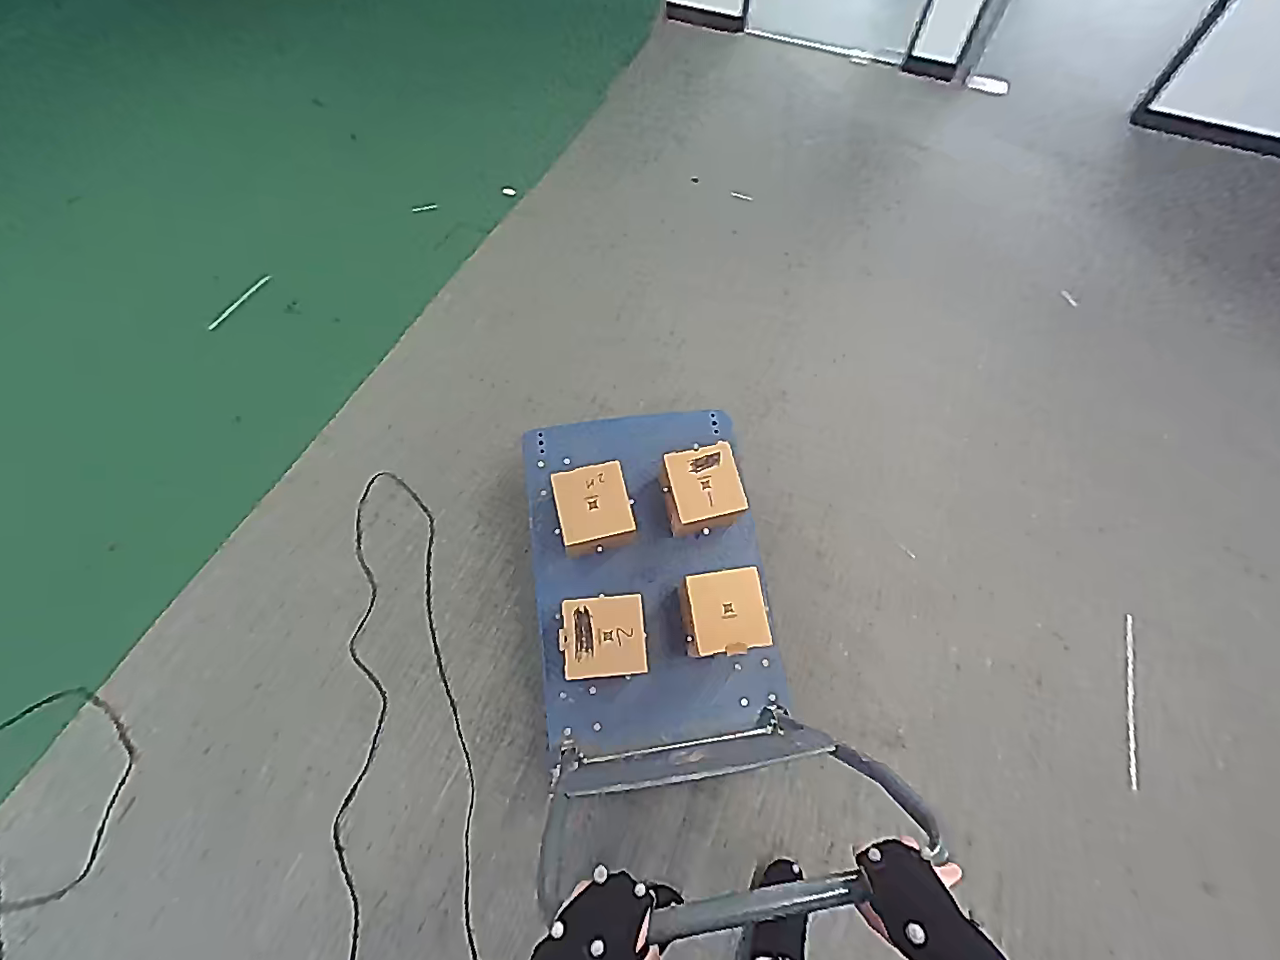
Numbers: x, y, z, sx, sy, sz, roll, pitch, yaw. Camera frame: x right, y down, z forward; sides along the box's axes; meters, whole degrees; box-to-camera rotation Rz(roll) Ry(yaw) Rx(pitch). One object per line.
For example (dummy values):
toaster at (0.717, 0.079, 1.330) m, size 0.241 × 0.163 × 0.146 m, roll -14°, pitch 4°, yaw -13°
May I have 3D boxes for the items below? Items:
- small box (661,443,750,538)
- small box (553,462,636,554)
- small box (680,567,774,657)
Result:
small box at (0.154, 0.030, 1.343) m, size 0.168 × 0.176 × 0.179 m, roll -12°, pitch 74°, yaw -7°
small box at (-0.109, 0.076, 1.311) m, size 0.168 × 0.176 × 0.179 m, roll -12°, pitch 73°, yaw -8°
small box at (0.193, 0.311, 1.257) m, size 0.168 × 0.176 × 0.179 m, roll -7°, pitch 74°, yaw -6°
